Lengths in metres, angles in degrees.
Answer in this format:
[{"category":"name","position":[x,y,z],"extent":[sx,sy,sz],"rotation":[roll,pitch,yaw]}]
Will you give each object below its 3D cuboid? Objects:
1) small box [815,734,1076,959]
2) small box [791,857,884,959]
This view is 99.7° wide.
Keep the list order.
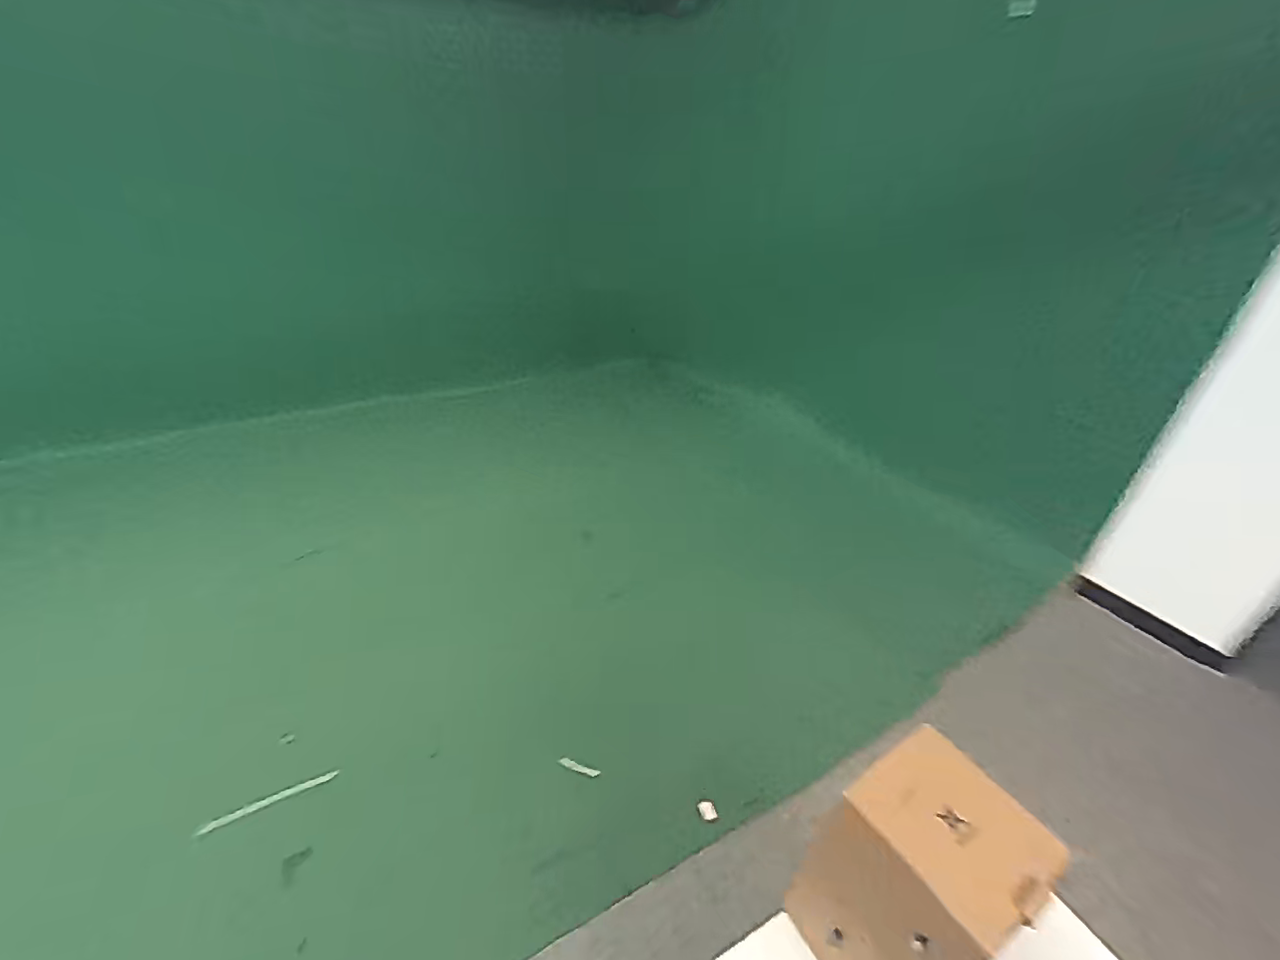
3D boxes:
[{"category":"small box","position":[0.336,0.447,0.626],"extent":[0.168,0.176,0.179],"rotation":[-17,38,-29]},{"category":"small box","position":[0.326,0.584,0.716],"extent":[0.168,0.176,0.179],"rotation":[-17,39,-27]}]
